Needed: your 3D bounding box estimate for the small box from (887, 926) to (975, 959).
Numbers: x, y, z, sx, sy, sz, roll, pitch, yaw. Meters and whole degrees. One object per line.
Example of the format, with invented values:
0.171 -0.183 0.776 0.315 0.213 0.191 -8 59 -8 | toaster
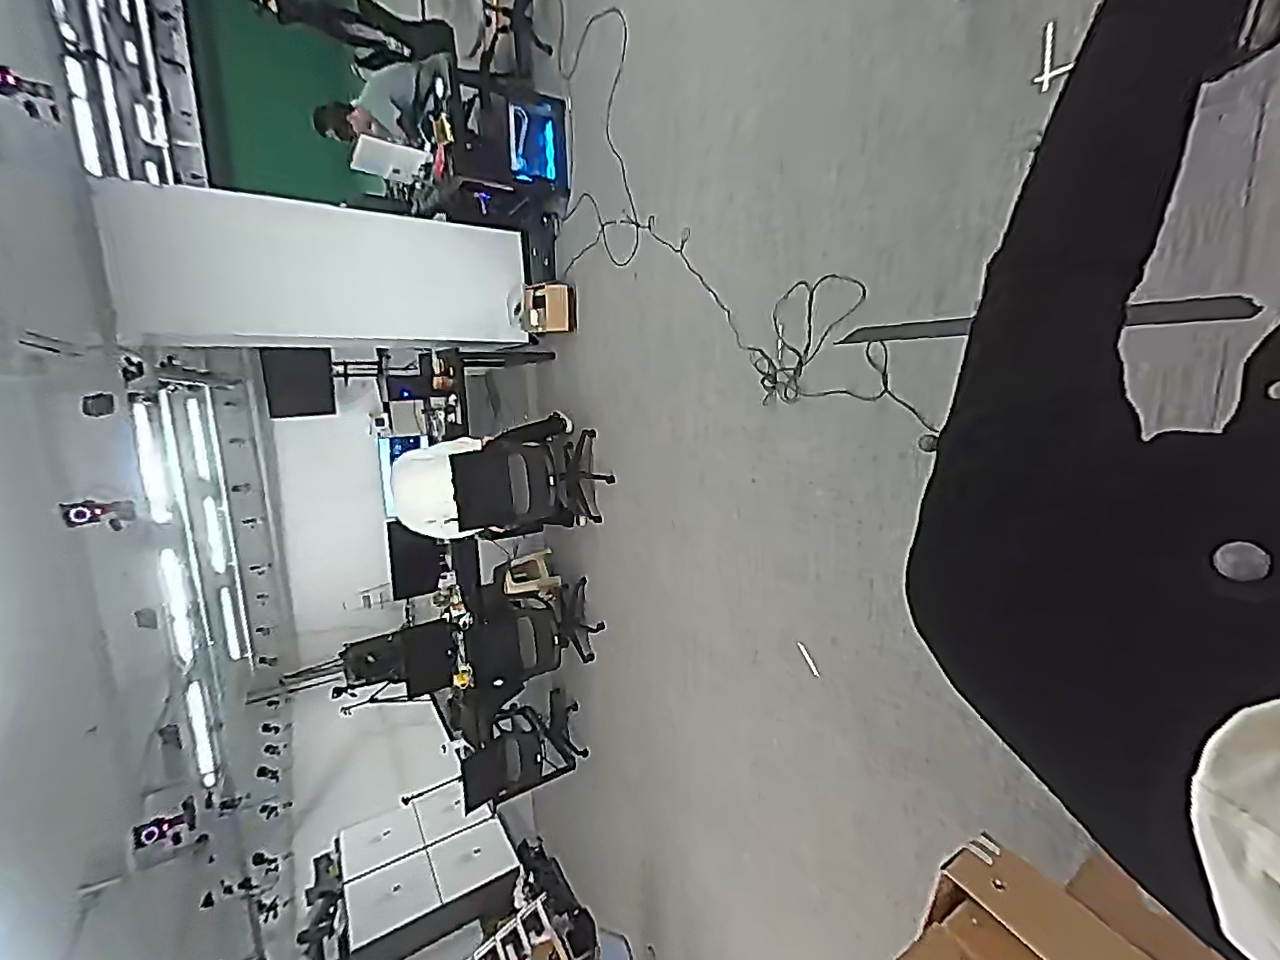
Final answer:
0.651 1.125 1.172 0.179 0.176 0.168 27 121 54 | small box
